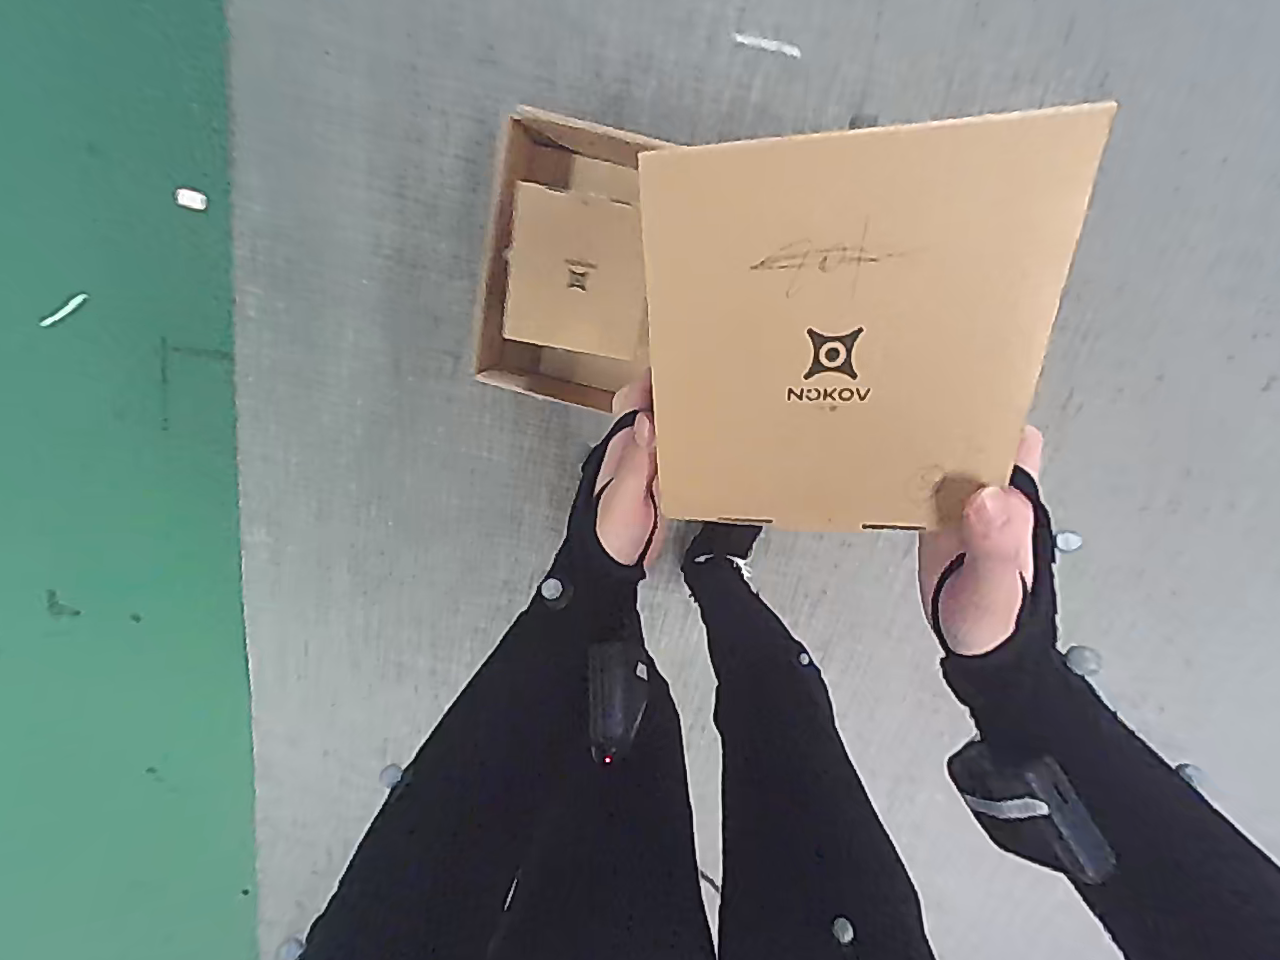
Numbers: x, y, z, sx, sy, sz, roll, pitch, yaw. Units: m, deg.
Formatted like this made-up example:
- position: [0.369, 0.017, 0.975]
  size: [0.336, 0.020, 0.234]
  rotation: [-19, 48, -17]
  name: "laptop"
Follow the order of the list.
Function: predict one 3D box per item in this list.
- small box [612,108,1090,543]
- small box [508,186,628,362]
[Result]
- position: [0.091, -0.088, 0.301]
  size: [0.168, 0.176, 0.179]
  rotation: [2, 119, 13]
  name: "small box"
- position: [-0.066, -0.268, 0.720]
  size: [0.168, 0.176, 0.179]
  rotation: [10, 109, 0]
  name: "small box"
